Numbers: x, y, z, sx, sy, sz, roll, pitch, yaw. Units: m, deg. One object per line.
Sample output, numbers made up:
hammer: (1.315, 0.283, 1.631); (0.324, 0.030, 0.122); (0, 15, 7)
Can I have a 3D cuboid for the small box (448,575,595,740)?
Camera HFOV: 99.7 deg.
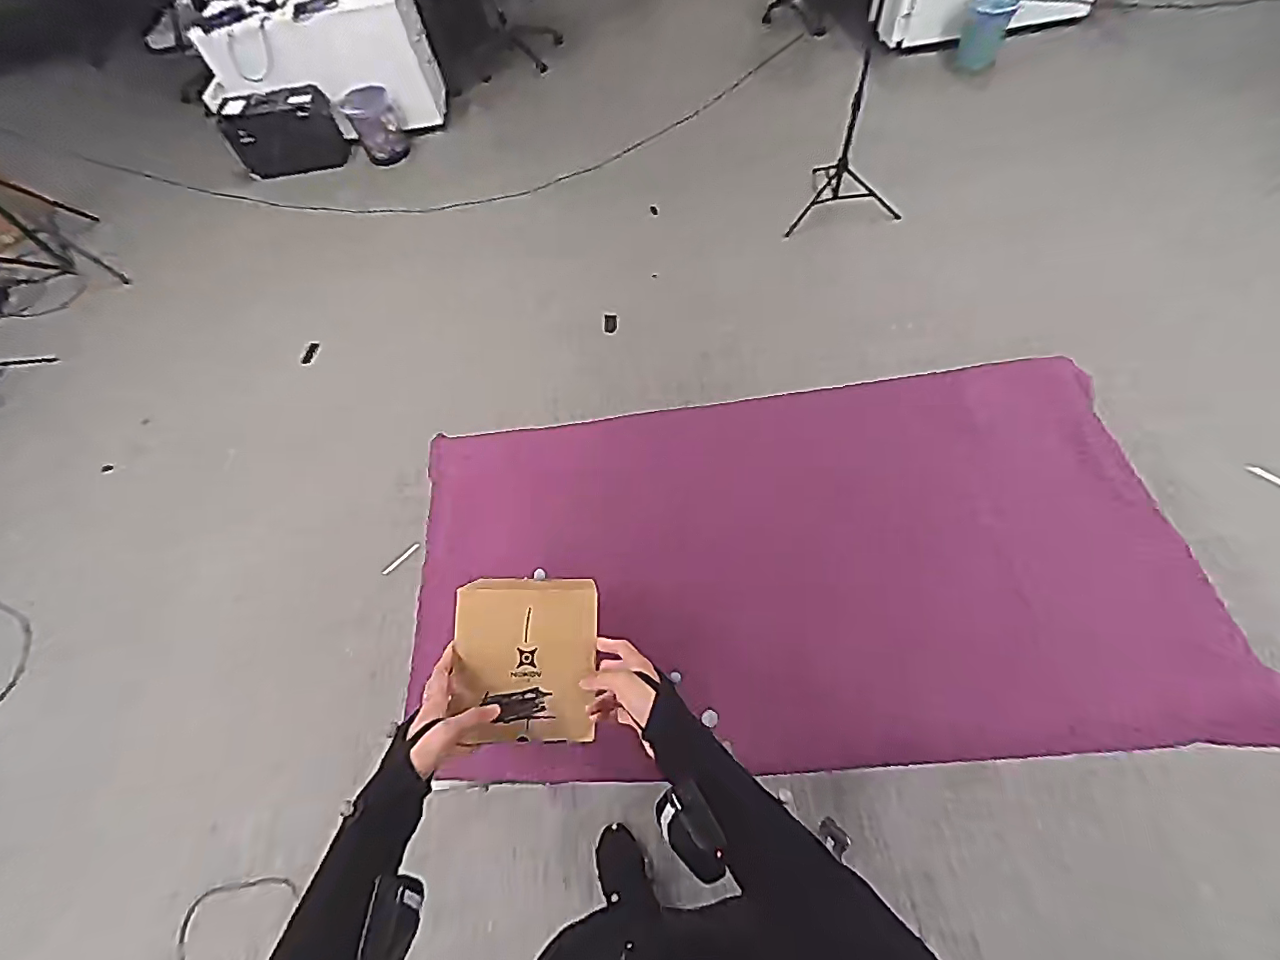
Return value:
small box: (-0.144, 0.221, 0.712); (0.168, 0.176, 0.179); (2, 83, -6)
